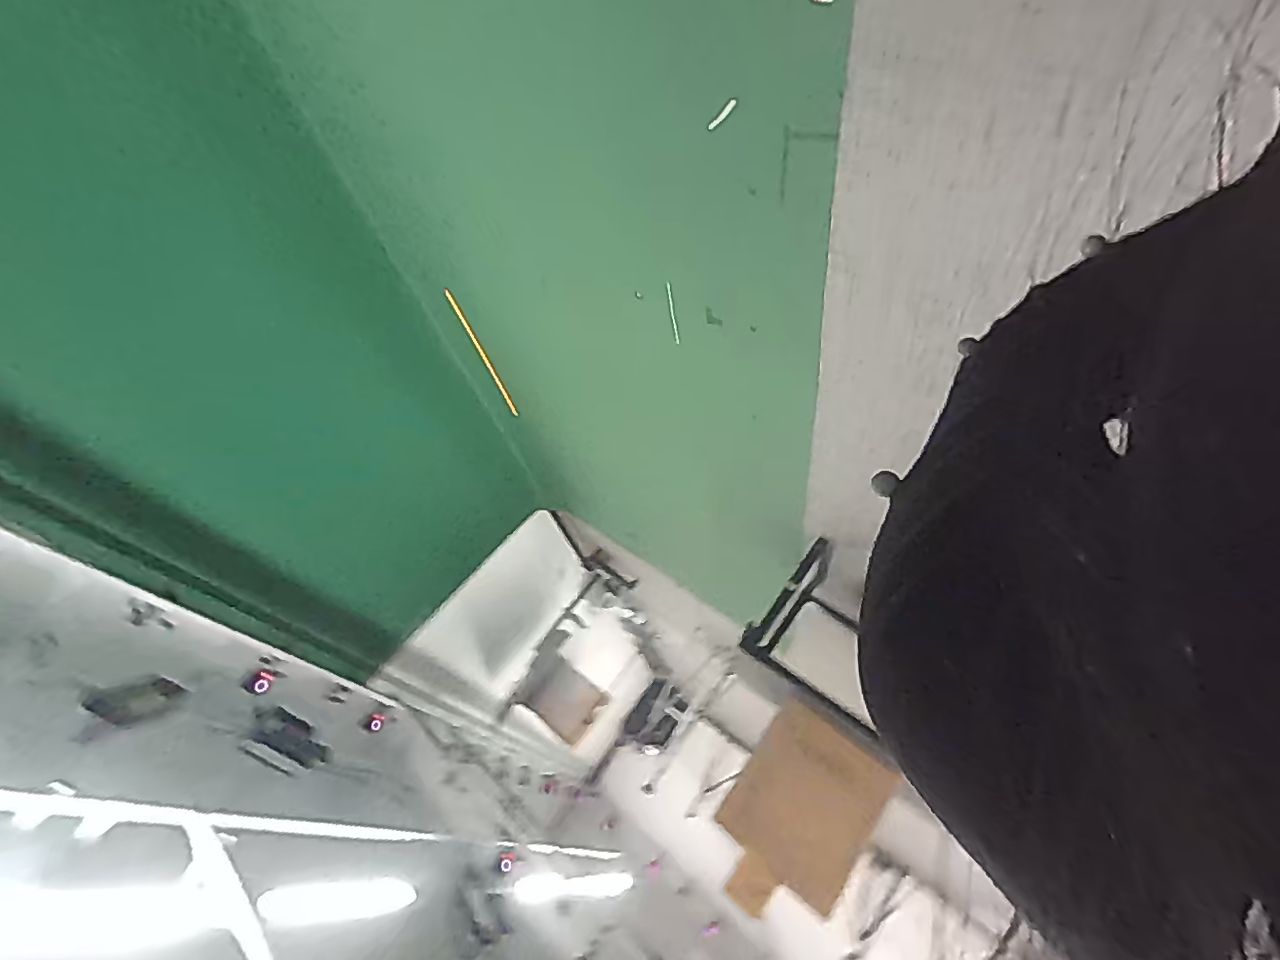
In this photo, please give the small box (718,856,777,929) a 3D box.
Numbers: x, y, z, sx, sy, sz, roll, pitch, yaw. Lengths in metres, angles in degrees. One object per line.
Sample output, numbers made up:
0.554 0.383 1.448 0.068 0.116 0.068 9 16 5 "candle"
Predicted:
0.427 1.625 2.136 0.168 0.176 0.179 29 154 32 "small box"
